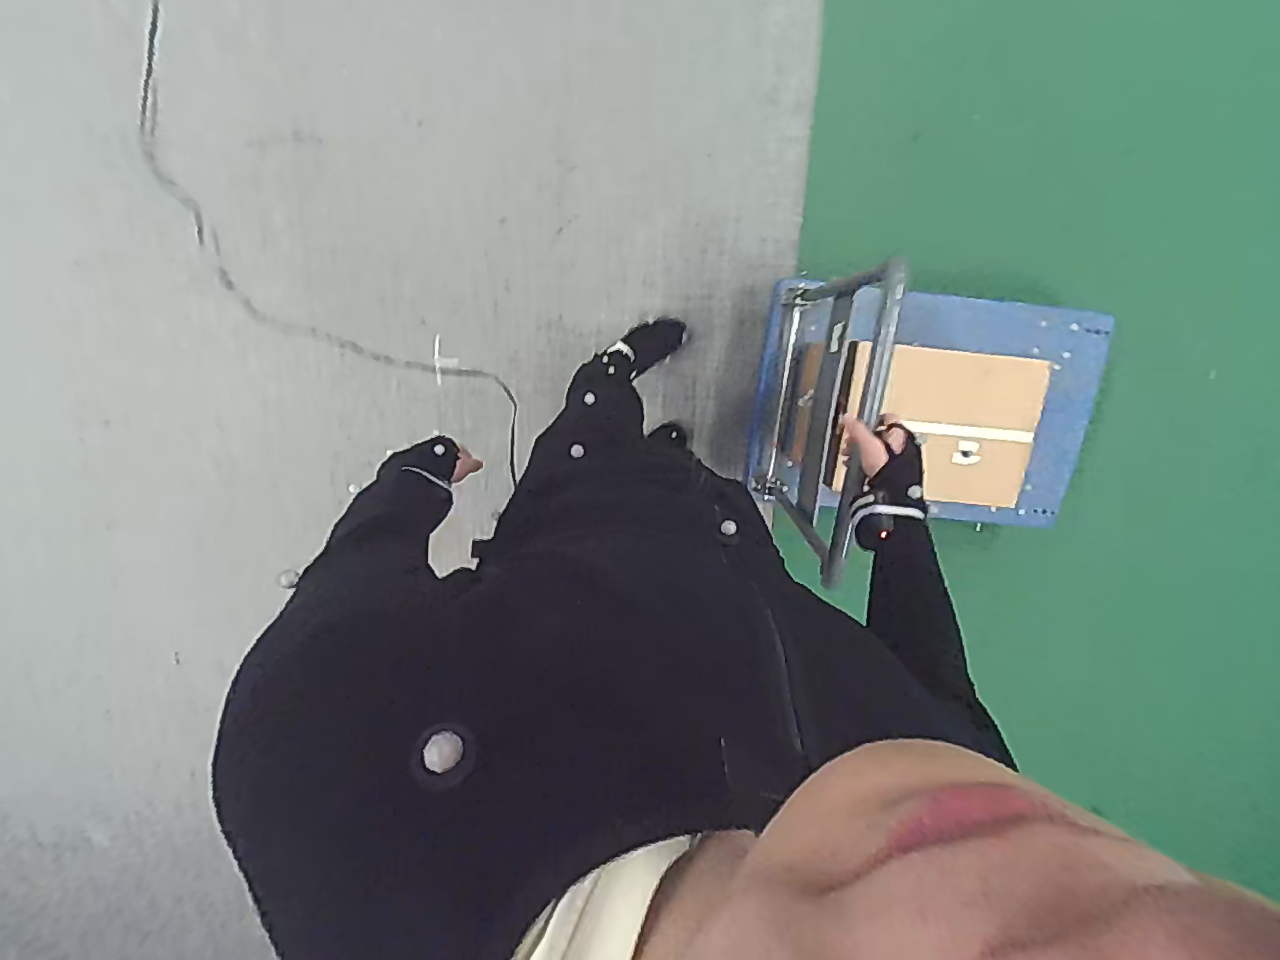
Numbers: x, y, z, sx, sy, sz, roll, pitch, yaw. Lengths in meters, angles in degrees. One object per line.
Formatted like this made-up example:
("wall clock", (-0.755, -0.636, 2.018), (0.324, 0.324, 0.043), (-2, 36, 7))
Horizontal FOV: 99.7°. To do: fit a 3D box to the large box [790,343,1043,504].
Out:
("large box", (0.608, -0.143, 1.270), (0.408, 0.320, 0.320), (6, 104, -3))
